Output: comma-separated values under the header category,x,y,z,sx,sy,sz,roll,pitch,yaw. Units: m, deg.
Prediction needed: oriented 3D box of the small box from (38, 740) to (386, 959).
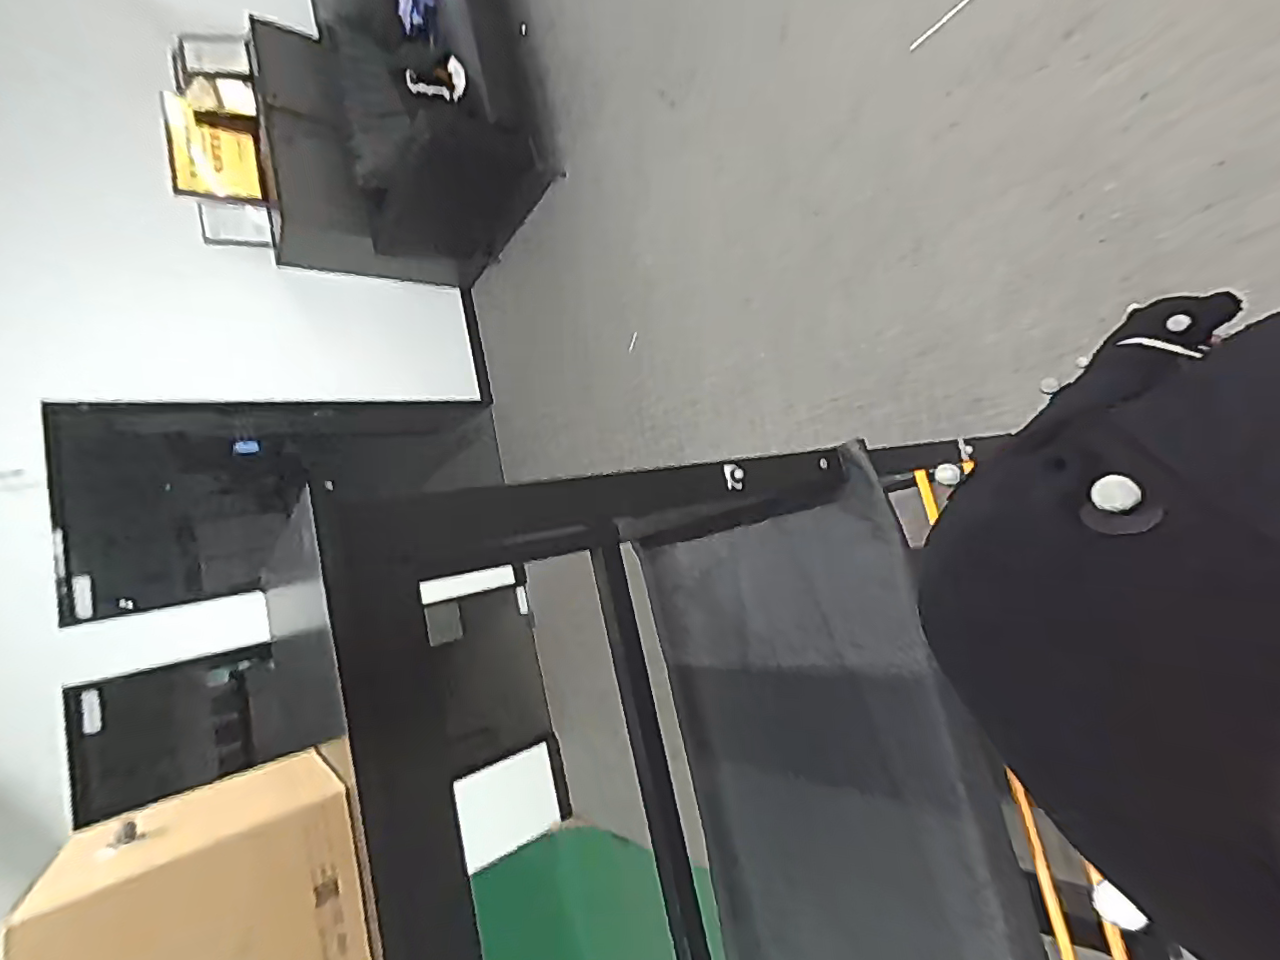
category,x,y,z,sx,sy,sz,roll,pitch,yaw
small box,-0.298,0.316,0.404,0.179,0.176,0.168,-21,78,51
